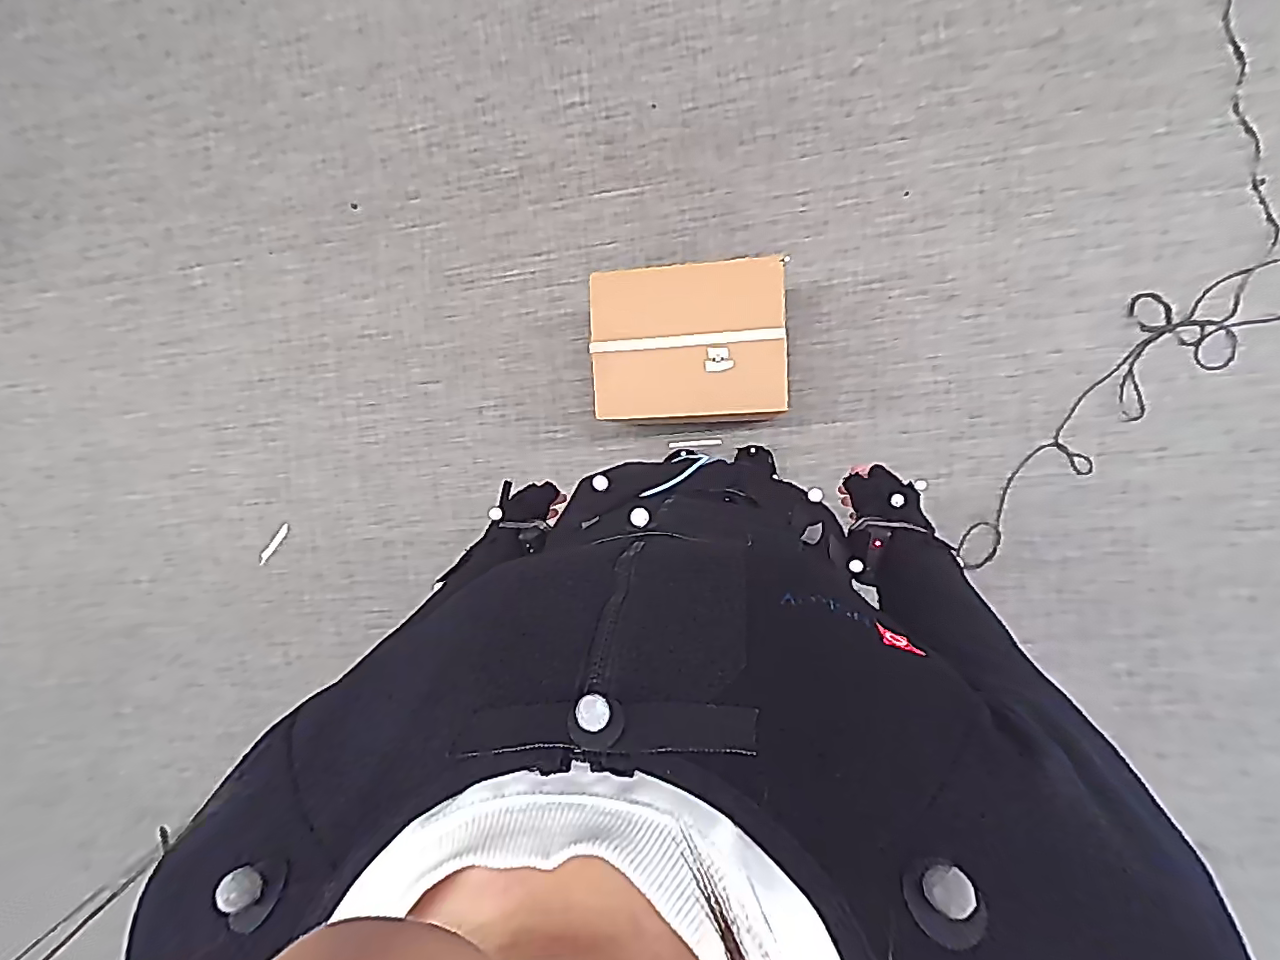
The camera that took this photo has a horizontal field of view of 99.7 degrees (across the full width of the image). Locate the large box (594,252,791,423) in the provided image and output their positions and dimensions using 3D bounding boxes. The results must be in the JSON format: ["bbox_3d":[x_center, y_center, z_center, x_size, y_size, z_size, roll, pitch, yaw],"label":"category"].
[{"bbox_3d":[0.126,-0.306,1.272,0.408,0.320,0.320,-2,94,9],"label":"large box"}]
